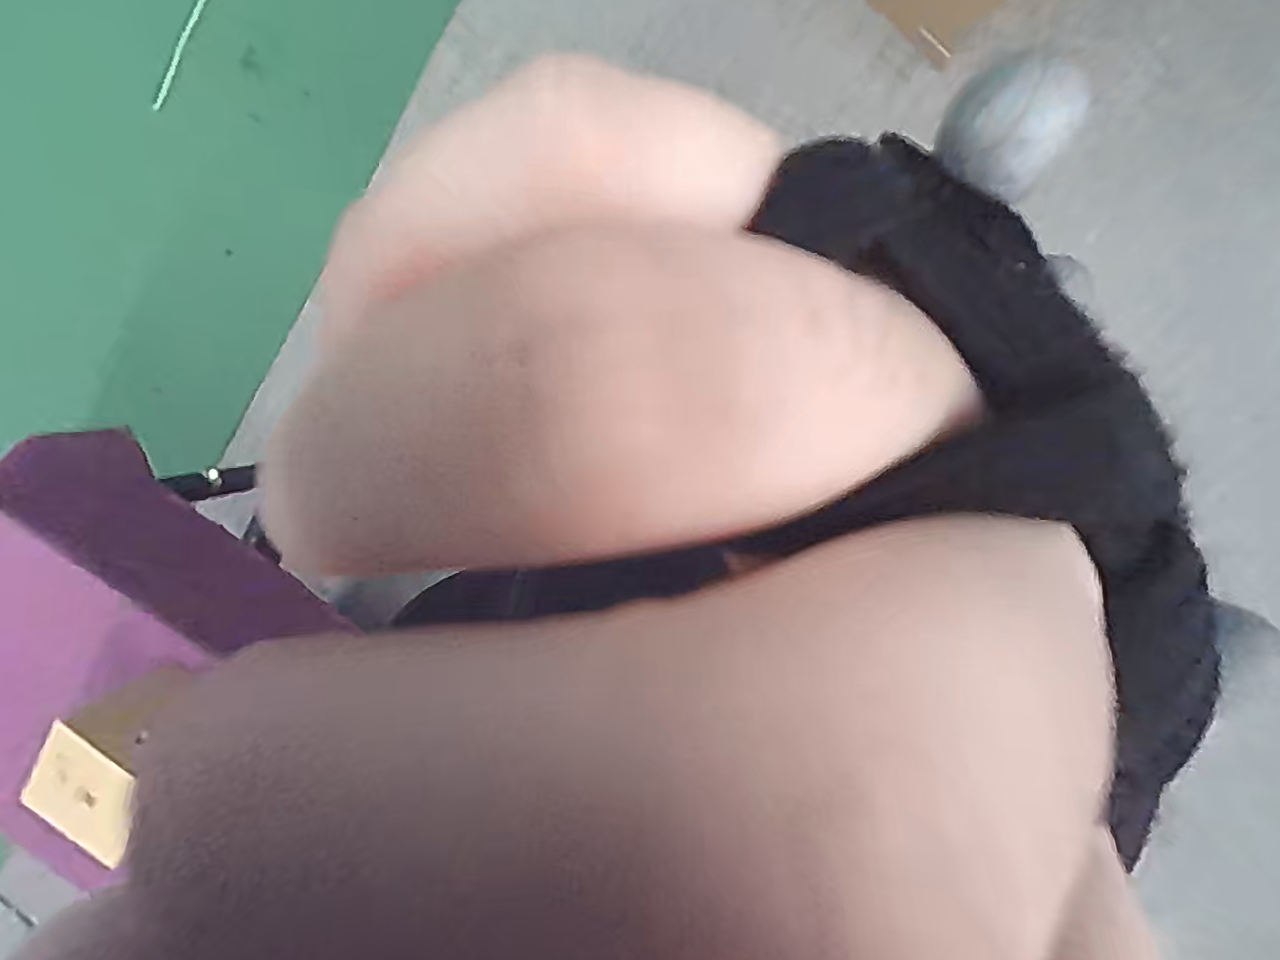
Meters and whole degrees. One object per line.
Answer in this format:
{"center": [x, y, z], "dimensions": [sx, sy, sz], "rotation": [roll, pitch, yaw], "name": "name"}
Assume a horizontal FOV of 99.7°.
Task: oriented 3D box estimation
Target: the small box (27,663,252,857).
{"center": [-0.767, 0.423, 0.847], "dimensions": [0.179, 0.176, 0.168], "rotation": [36, 102, 1], "name": "small box"}
